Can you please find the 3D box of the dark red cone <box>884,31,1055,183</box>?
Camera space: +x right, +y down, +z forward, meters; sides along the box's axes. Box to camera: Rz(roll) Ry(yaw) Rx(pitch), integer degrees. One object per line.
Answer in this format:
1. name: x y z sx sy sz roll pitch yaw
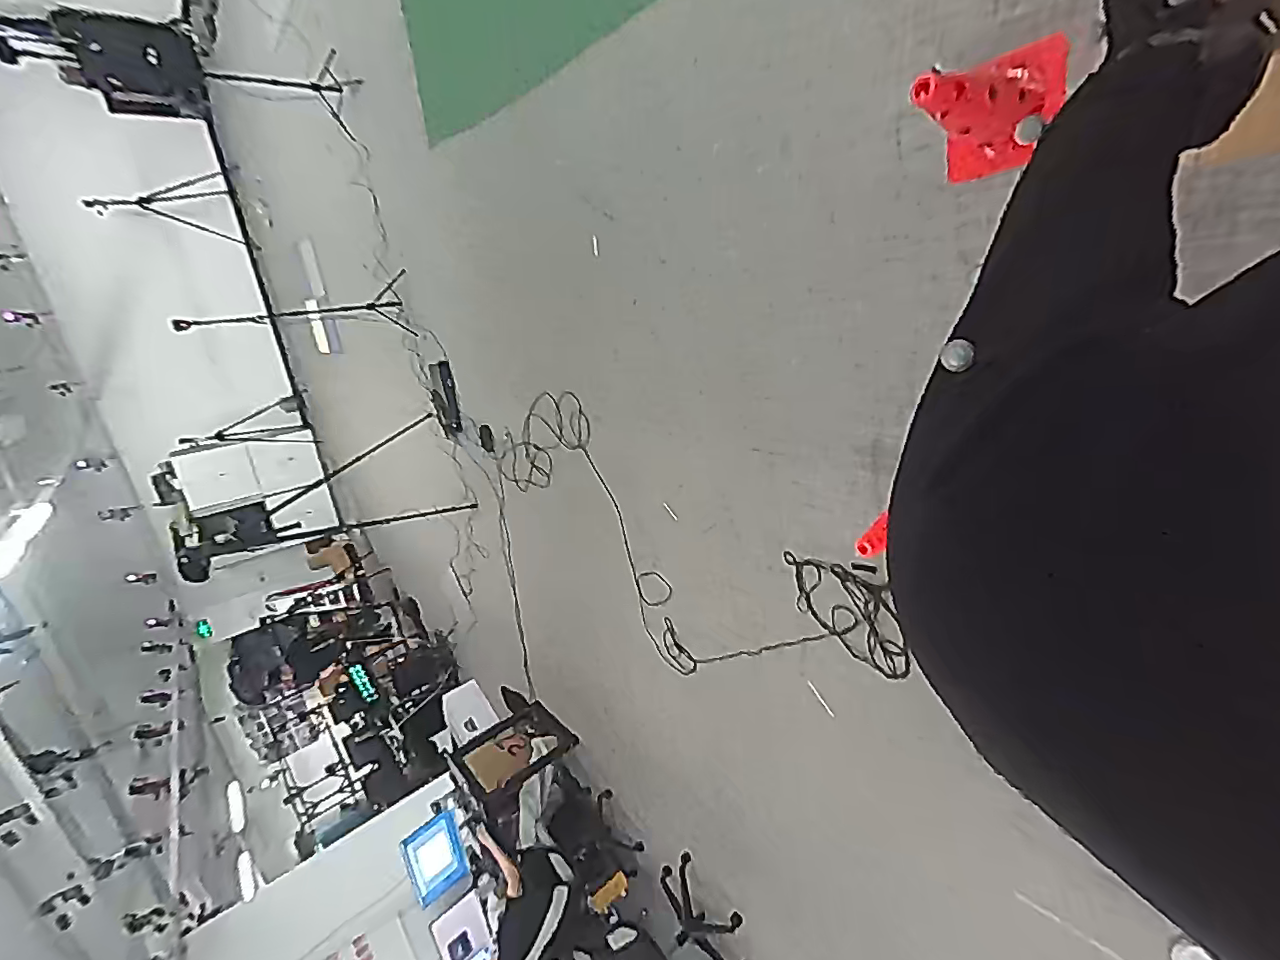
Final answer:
1. dark red cone: 0.547 -0.666 0.941 0.202 0.394 0.201 7 109 52
